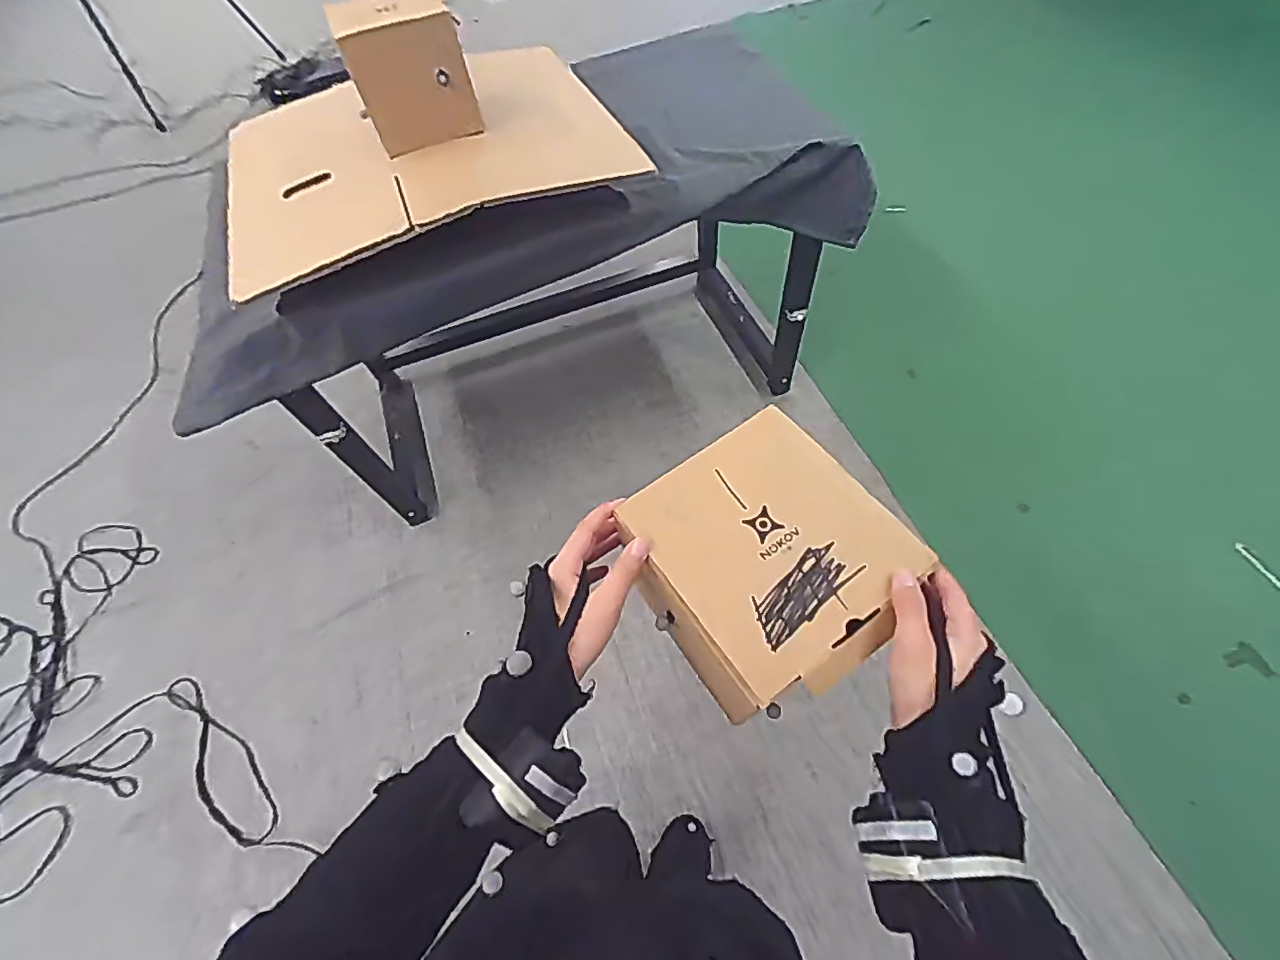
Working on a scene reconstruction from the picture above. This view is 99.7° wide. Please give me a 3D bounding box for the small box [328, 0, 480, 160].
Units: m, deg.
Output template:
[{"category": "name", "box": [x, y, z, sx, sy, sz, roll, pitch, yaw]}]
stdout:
[{"category": "small box", "box": [-0.382, -0.672, 0.902, 0.179, 0.176, 0.168, -23, 57, -8]}]
